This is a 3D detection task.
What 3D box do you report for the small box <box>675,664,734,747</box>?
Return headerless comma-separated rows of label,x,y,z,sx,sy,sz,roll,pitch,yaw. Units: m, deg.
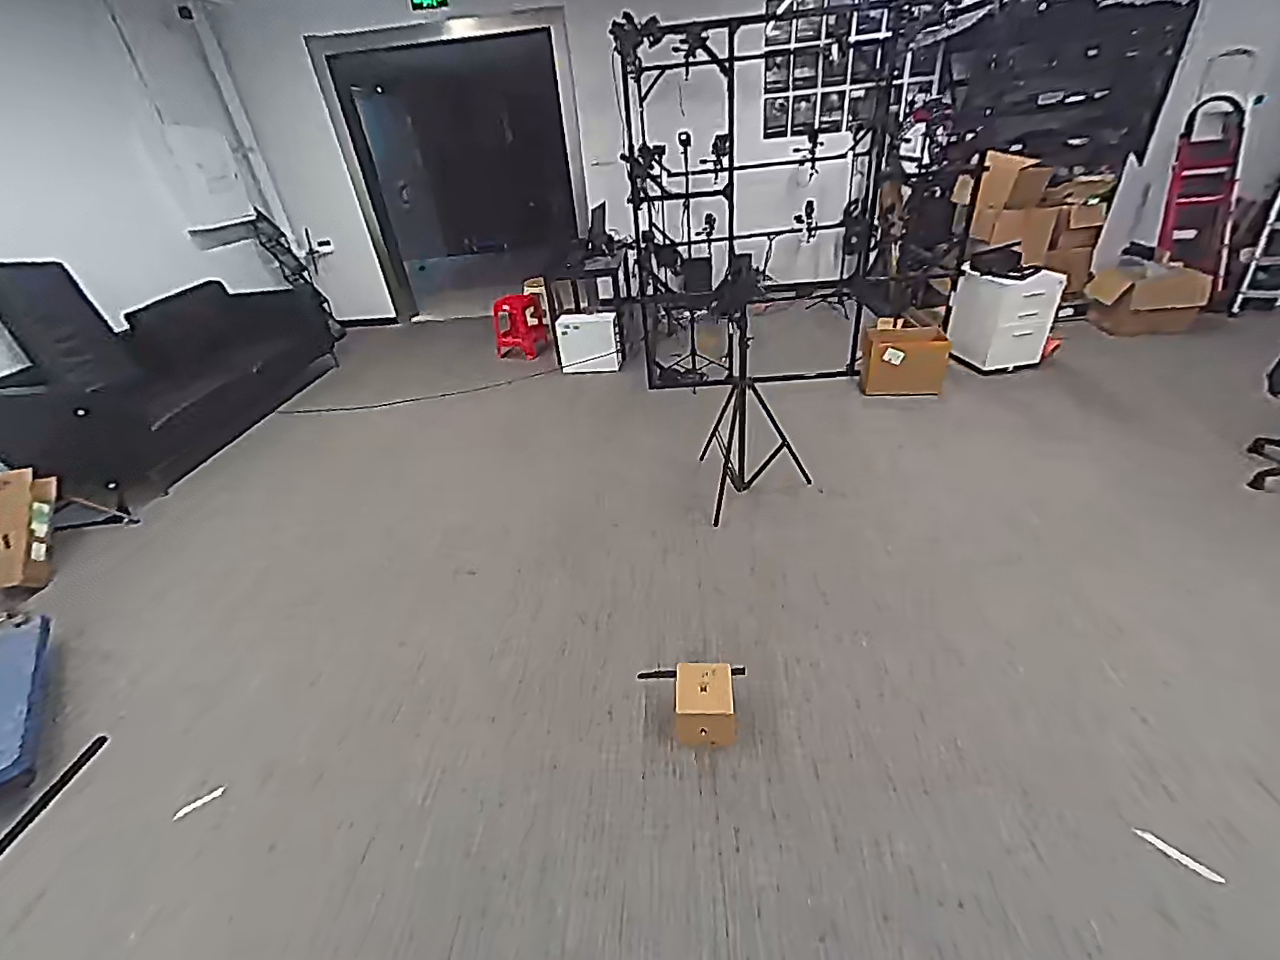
small box,0.197,0.683,1.636,0.168,0.176,0.179,-2,32,7
